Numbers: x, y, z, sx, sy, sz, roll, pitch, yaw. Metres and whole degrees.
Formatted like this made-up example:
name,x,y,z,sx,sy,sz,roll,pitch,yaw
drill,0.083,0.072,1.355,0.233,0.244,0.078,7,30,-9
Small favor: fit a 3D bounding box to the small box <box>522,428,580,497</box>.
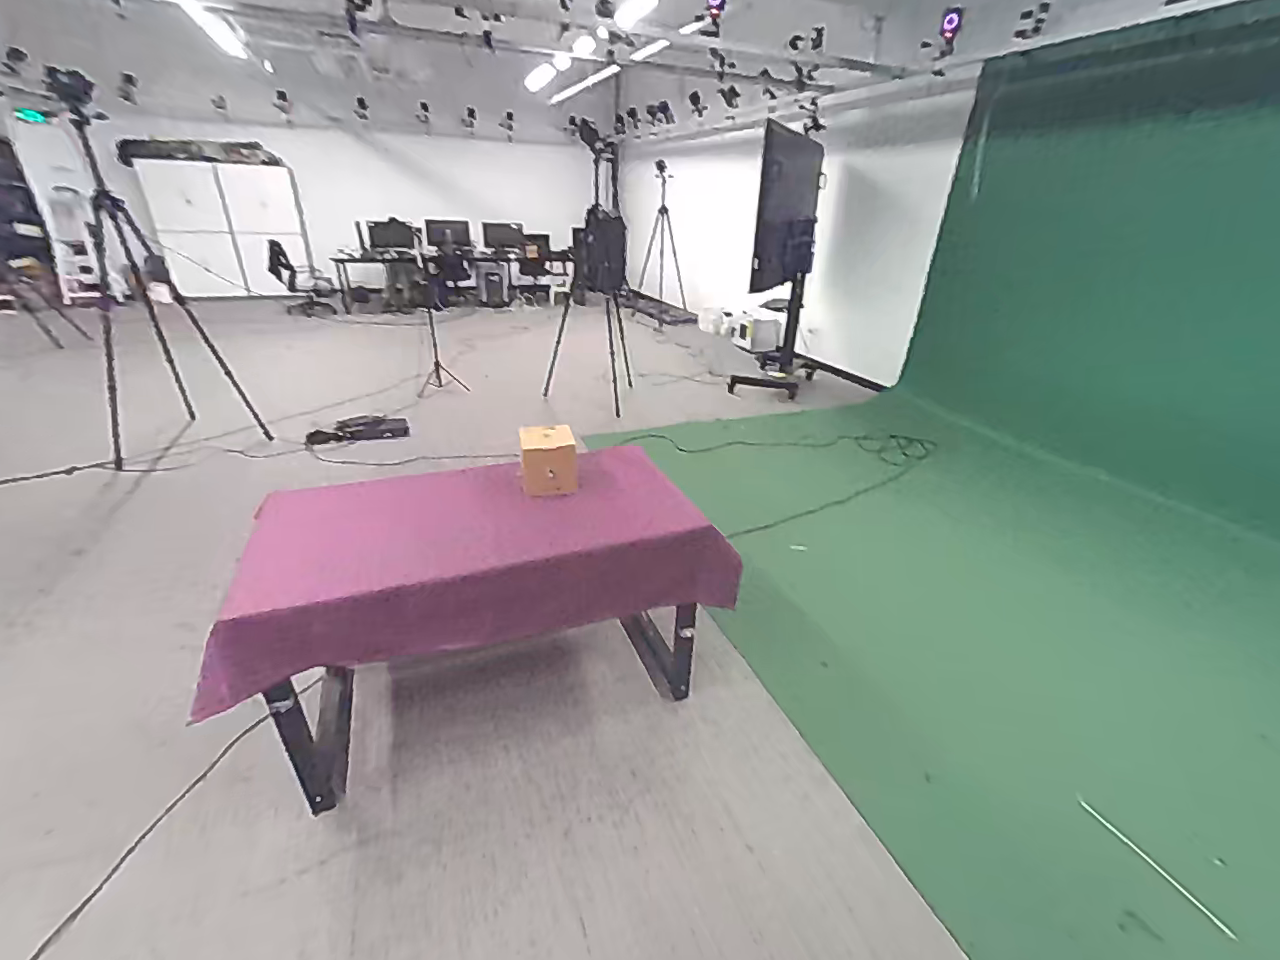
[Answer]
name,x,y,z,sx,sy,sz,roll,pitch,yaw
small box,-0.288,-0.052,1.742,0.168,0.176,0.179,-5,28,-13
